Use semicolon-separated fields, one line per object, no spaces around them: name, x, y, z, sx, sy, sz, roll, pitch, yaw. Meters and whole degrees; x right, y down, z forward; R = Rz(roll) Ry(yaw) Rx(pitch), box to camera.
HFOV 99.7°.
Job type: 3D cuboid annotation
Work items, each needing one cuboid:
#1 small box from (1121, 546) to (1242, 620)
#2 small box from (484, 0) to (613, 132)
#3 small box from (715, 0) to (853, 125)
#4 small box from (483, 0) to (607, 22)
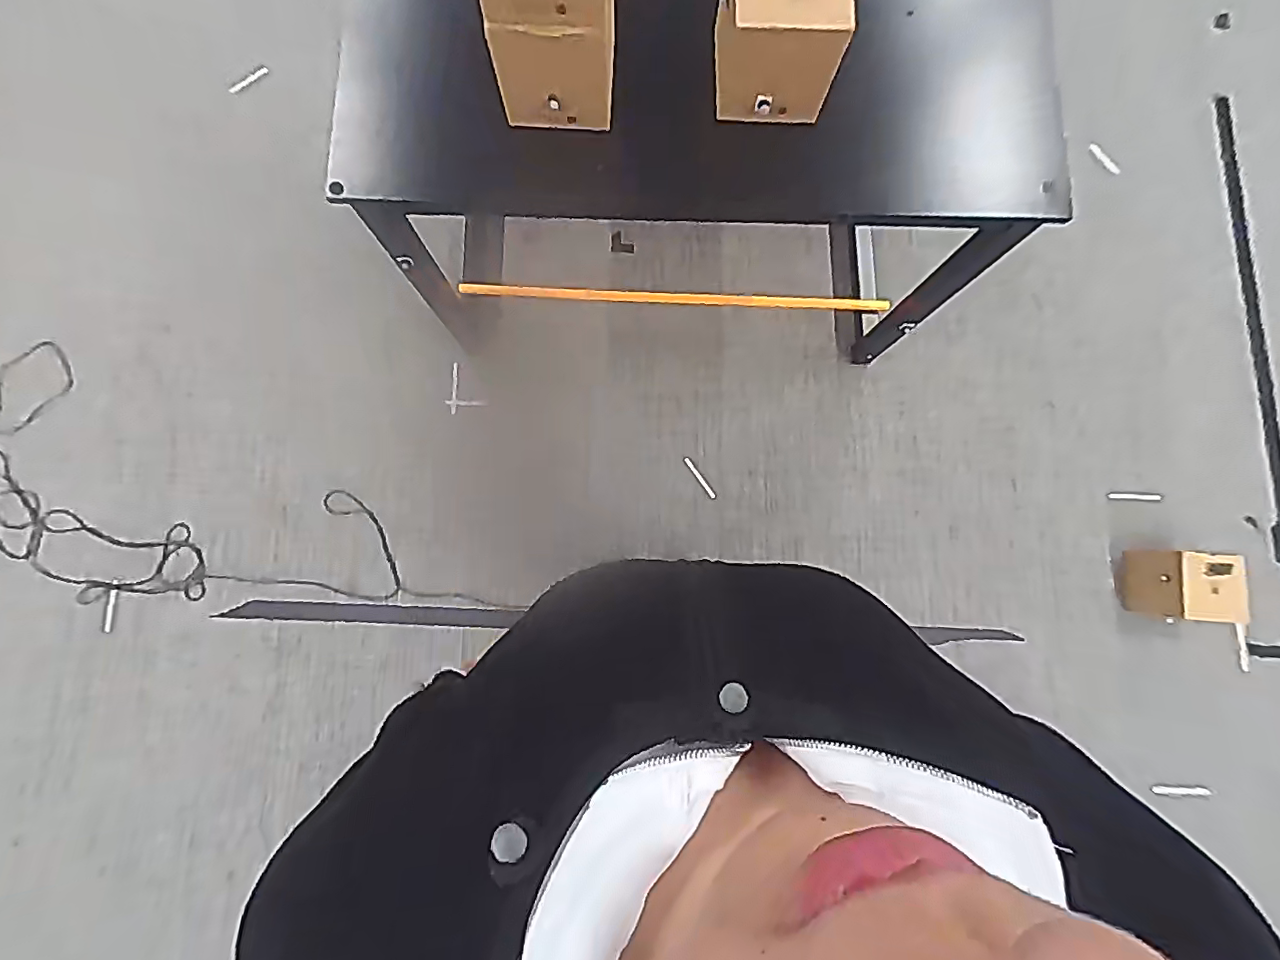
small box;1.456;0.274;1.465;0.168;0.176;0.179;5;83;-1
small box;-0.127;-0.672;0.815;0.168;0.176;0.179;2;82;-1
small box;0.209;-0.689;0.831;0.168;0.176;0.179;0;83;0
small box;-0.125;-0.704;0.654;0.168;0.176;0.179;0;82;-2
